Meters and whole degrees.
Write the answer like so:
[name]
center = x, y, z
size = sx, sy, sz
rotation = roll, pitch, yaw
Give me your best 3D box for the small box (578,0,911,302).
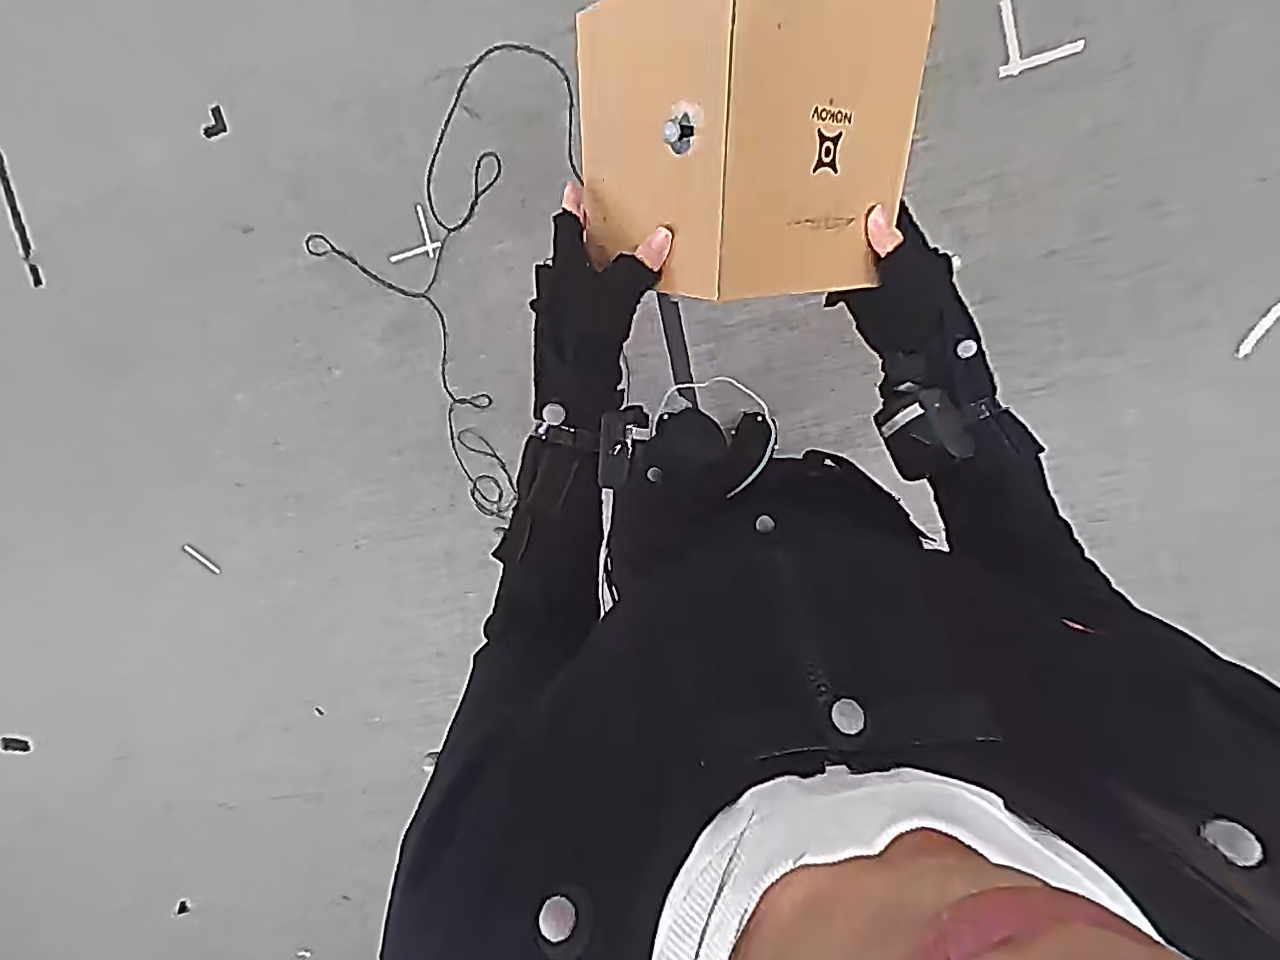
[small box]
center = 0.063, -0.235, 0.403
size = 0.168, 0.176, 0.179
rotation = -16, 120, -30
